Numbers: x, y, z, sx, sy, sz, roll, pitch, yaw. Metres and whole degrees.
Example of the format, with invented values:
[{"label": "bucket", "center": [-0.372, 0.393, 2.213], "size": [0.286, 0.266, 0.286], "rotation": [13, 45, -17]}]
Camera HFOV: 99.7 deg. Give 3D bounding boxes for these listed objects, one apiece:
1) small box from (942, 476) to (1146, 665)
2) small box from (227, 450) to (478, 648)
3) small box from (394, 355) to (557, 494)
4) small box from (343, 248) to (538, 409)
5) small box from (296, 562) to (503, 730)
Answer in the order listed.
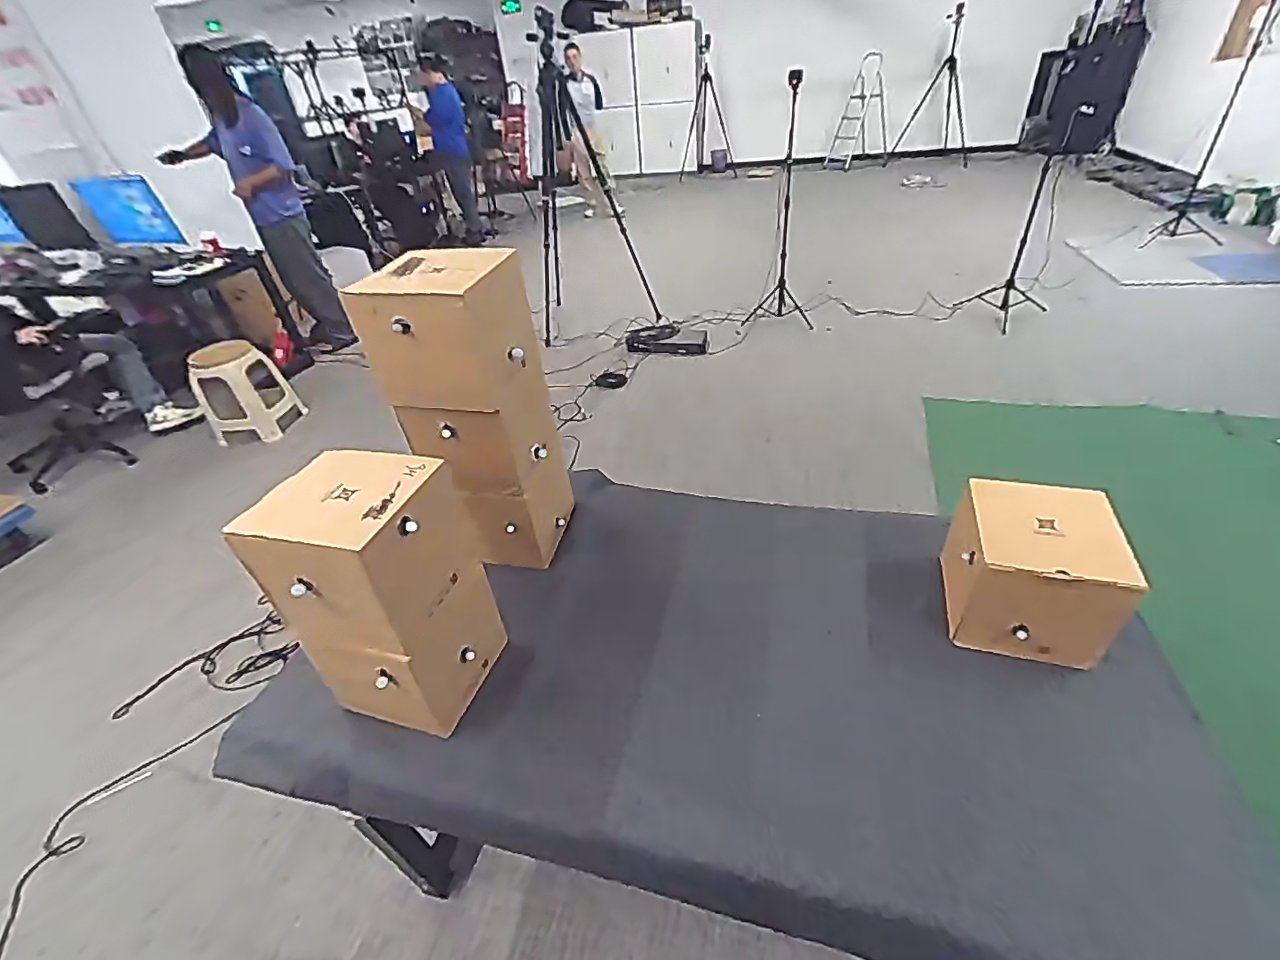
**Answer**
[{"label": "small box", "center": [0.532, 0.121, 0.748], "size": [0.168, 0.176, 0.179], "rotation": [7, 41, 18]}, {"label": "small box", "center": [-0.327, 0.081, 0.654], "size": [0.179, 0.176, 0.168], "rotation": [4, 37, 14]}, {"label": "small box", "center": [-0.251, -0.092, 0.872], "size": [0.179, 0.176, 0.168], "rotation": [4, 41, 11]}, {"label": "small box", "center": [-0.264, -0.213, 0.762], "size": [0.179, 0.176, 0.168], "rotation": [5, 41, 13]}, {"label": "small box", "center": [-0.312, 0.215, 0.746], "size": [0.179, 0.176, 0.168], "rotation": [7, 37, 17]}]
